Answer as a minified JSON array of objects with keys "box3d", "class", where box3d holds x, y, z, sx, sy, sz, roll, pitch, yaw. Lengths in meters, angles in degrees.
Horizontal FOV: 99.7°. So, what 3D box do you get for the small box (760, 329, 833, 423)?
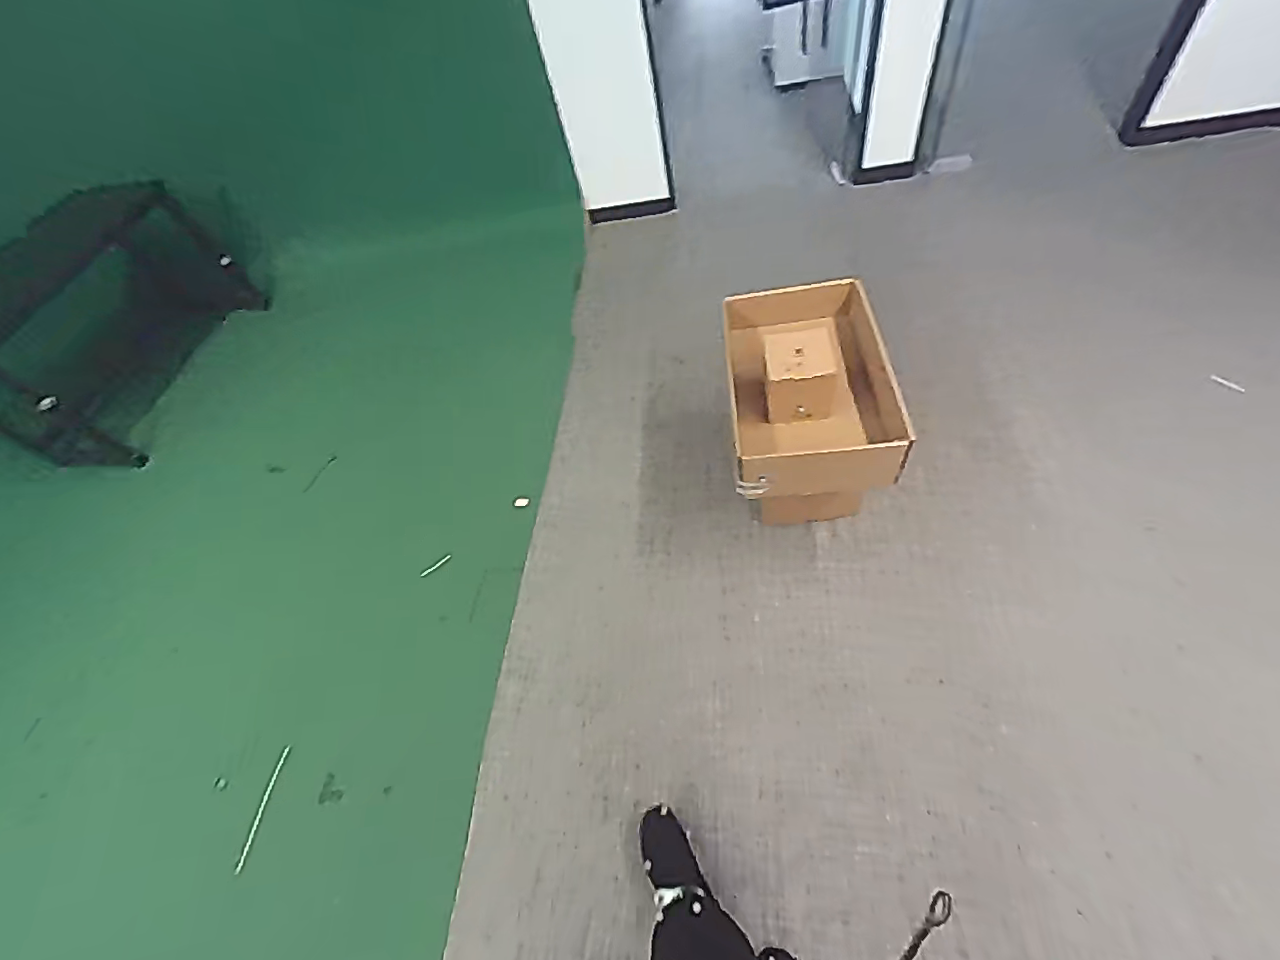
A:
[{"box3d":[0.414,-0.277,1.454,0.168,0.176,0.179,-5,54,10],"class":"small box"}]
